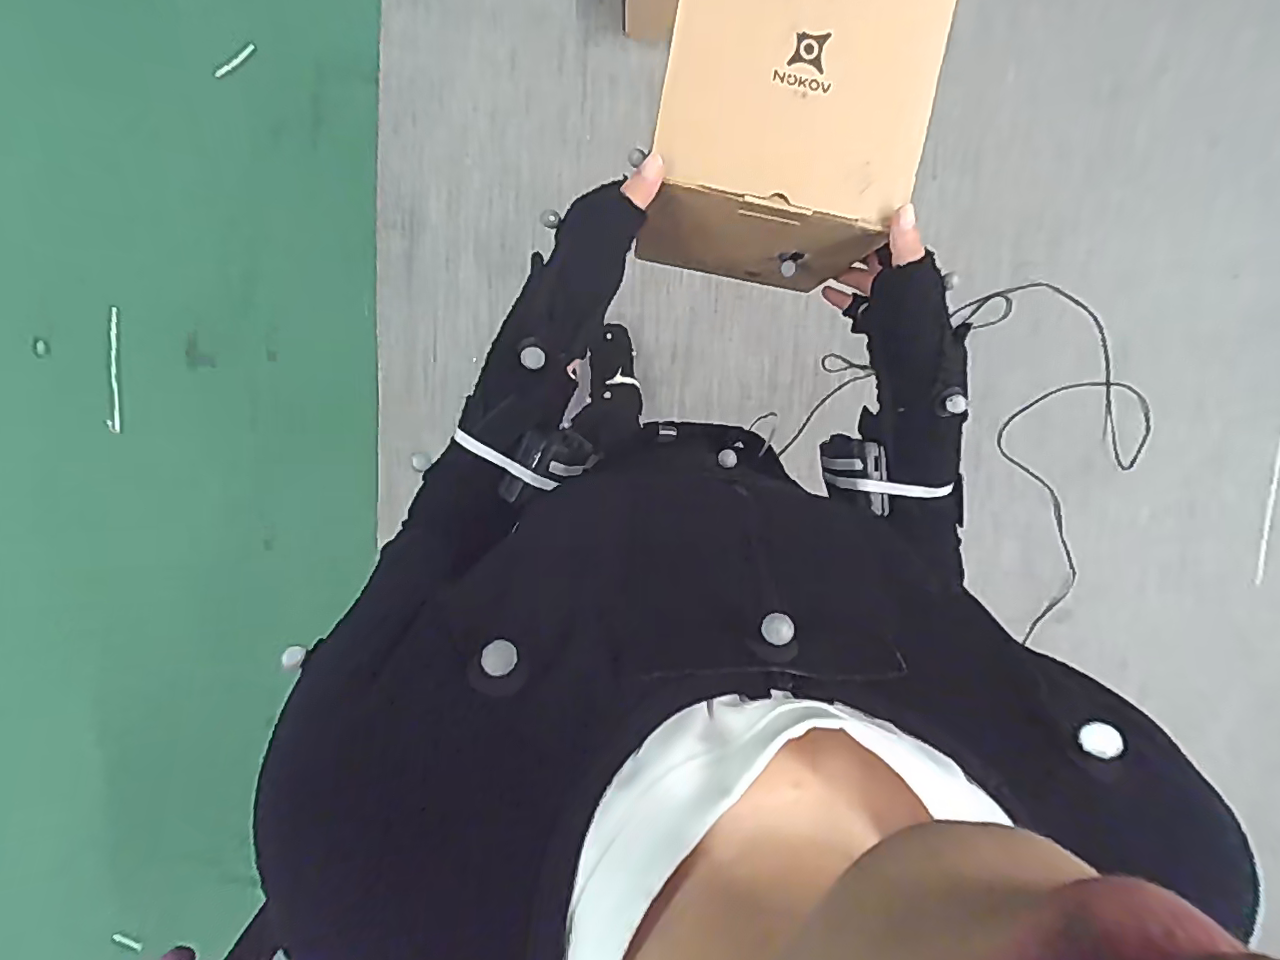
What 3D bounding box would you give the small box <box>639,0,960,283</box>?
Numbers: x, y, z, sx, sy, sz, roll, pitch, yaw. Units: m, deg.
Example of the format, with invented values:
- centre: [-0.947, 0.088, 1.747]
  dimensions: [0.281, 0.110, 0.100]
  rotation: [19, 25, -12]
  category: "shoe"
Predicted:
- centre: [0.095, -0.261, 0.397]
  dimensions: [0.168, 0.176, 0.179]
  rotation: [11, 96, -5]
  category: "small box"
